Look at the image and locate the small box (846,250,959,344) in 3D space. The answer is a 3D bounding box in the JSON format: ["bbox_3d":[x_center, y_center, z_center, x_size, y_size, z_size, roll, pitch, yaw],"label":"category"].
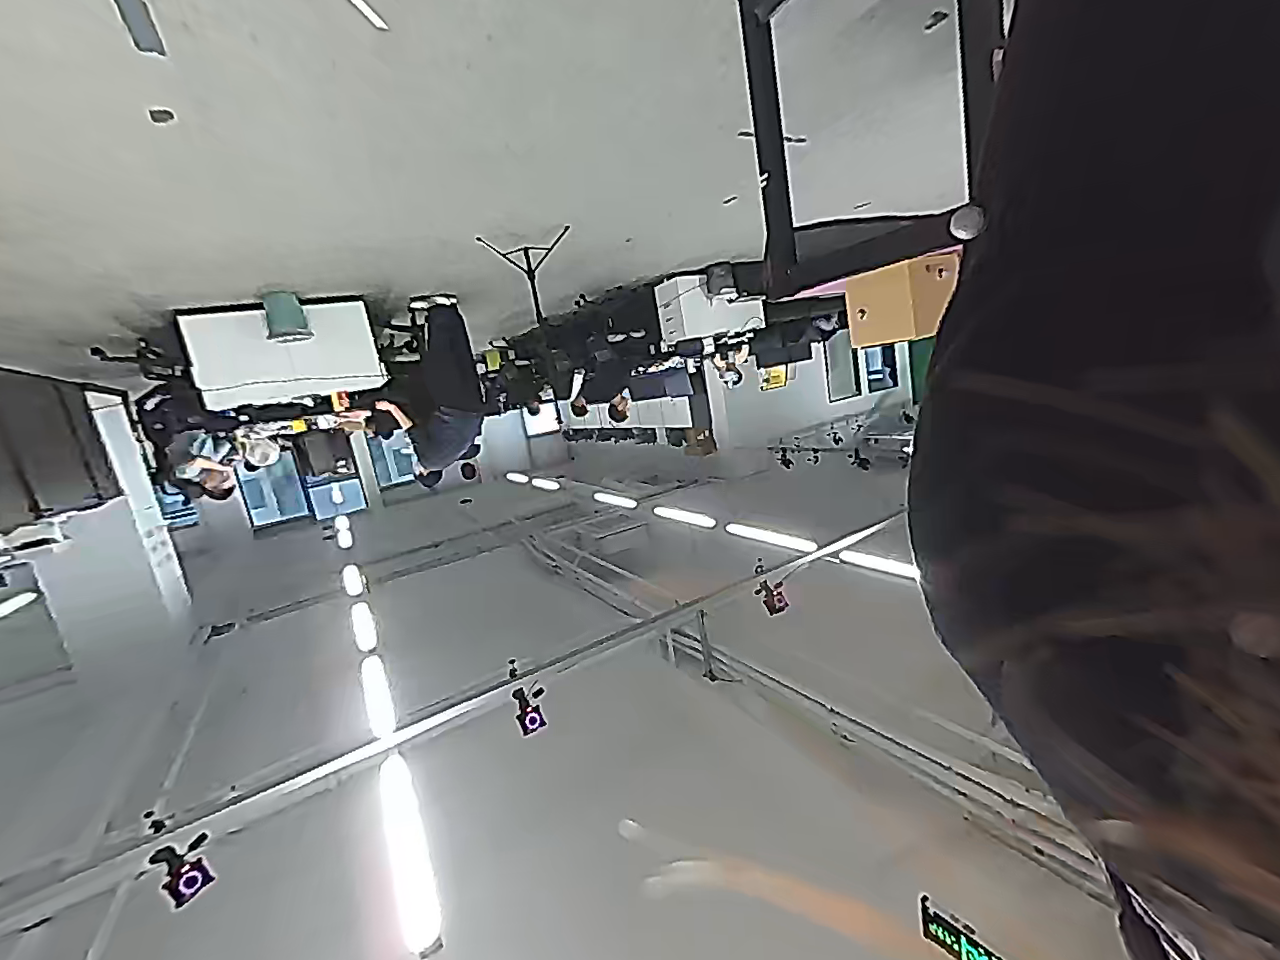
[{"bbox_3d":[0.594,-0.416,1.235,0.168,0.176,0.179,-18,-167,-24],"label":"small box"}]
